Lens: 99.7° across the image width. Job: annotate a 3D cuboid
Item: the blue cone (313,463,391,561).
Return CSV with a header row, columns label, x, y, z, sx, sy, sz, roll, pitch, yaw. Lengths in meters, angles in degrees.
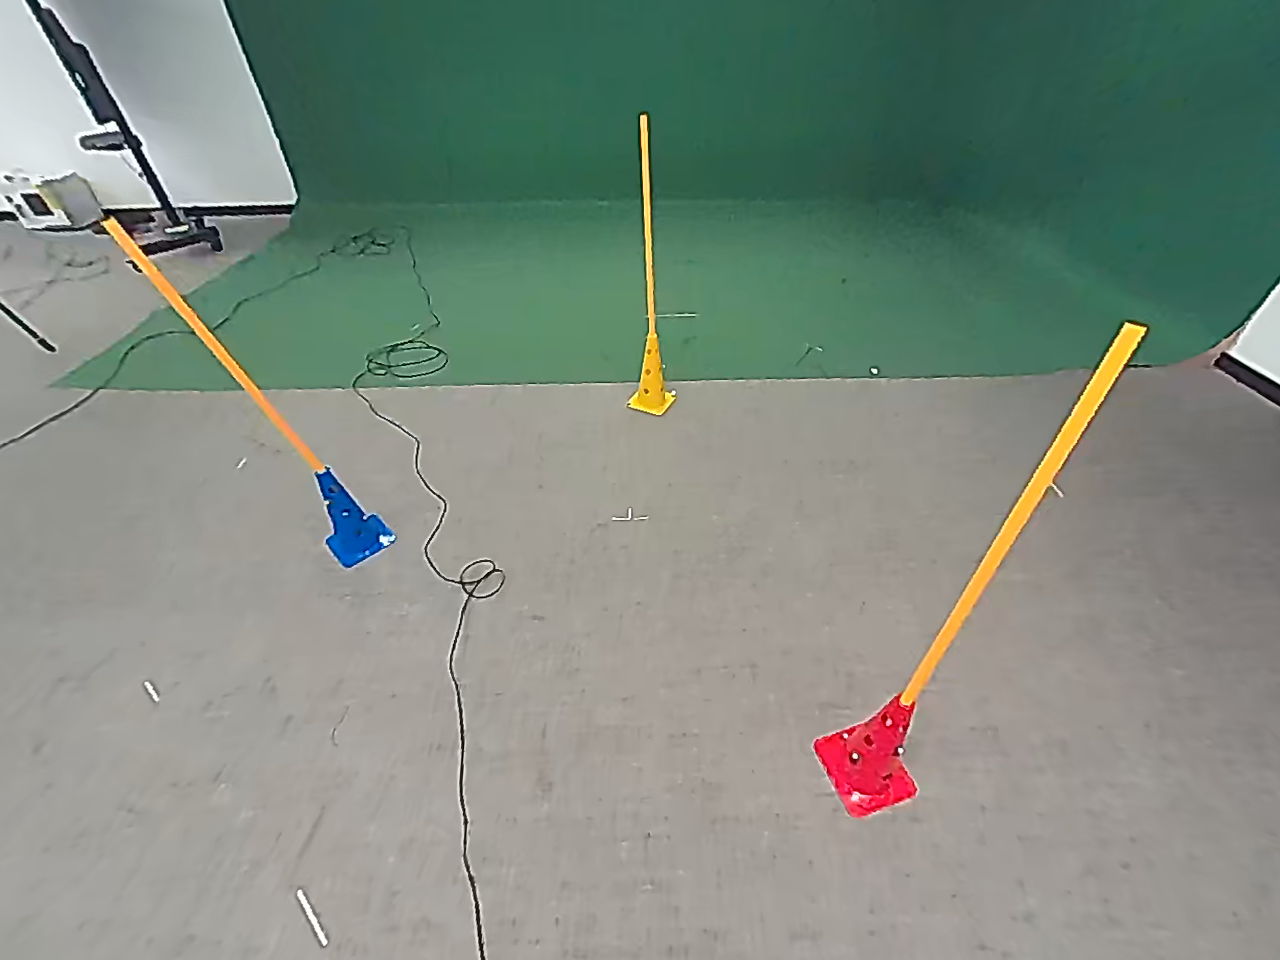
label,x,y,z,sx,sy,sz,roll,pitch,yaw
blue cone,-1.045,0.092,1.895,0.192,0.380,0.193,33,54,30
